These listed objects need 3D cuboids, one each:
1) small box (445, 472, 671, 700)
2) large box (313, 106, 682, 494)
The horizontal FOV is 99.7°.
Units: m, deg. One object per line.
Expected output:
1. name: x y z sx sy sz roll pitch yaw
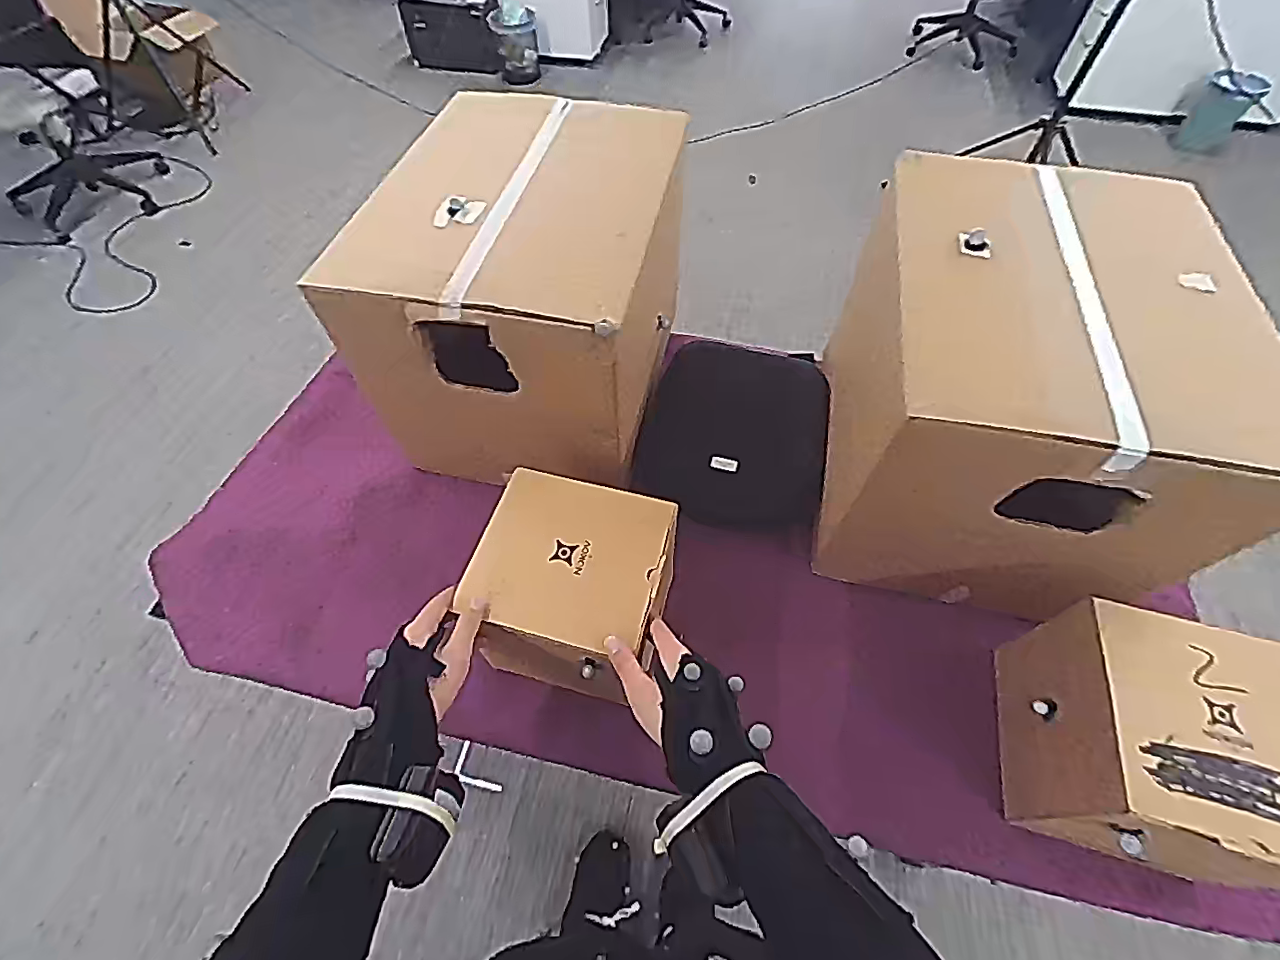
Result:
1. small box: -0.072 0.118 0.579 0.179 0.176 0.168 12 56 8
2. large box: -0.130 -0.227 0.728 0.320 0.320 0.408 9 59 7
